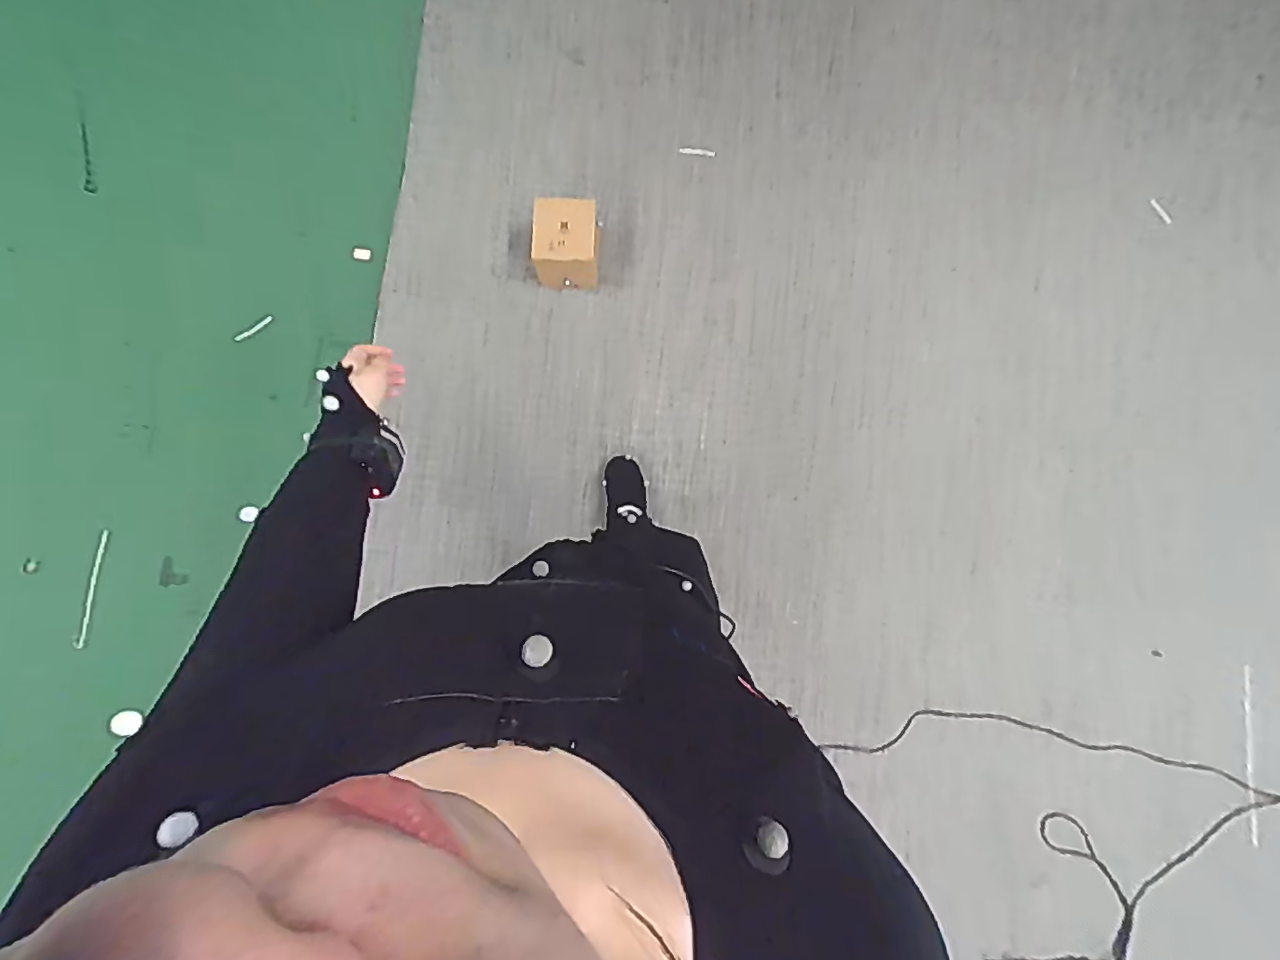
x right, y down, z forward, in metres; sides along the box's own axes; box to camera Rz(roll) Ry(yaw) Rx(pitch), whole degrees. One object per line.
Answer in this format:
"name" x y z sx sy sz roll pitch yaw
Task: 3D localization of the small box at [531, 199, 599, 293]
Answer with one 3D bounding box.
"small box" -0.202 -0.643 1.497 0.168 0.176 0.179 2 83 -1
